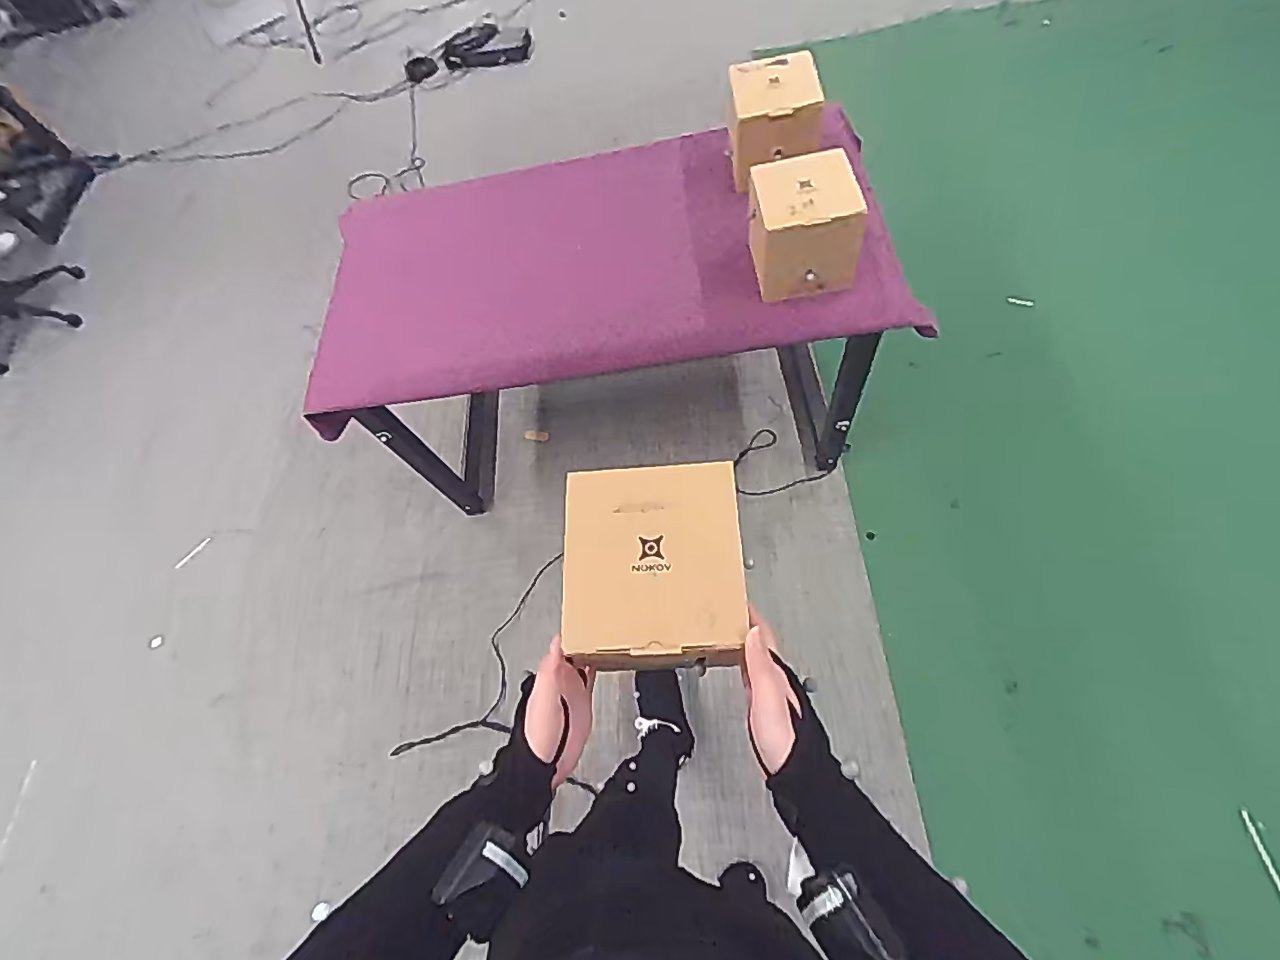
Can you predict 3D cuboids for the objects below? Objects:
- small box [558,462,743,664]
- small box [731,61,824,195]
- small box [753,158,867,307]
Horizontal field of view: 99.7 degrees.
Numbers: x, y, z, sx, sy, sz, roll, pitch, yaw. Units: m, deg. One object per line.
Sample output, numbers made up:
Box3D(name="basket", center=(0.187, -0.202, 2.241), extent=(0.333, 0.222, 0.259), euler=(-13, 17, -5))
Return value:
Box3D(name="small box", center=(0.017, 0.098, 0.571), extent=(0.168, 0.176, 0.179), euler=(-3, 65, 5))
Box3D(name="small box", center=(0.285, -0.732, 1.147), extent=(0.168, 0.176, 0.179), euler=(-5, 66, 7))
Box3D(name="small box", center=(0.302, -0.452, 1.003), extent=(0.168, 0.176, 0.179), euler=(-7, 62, 8))
